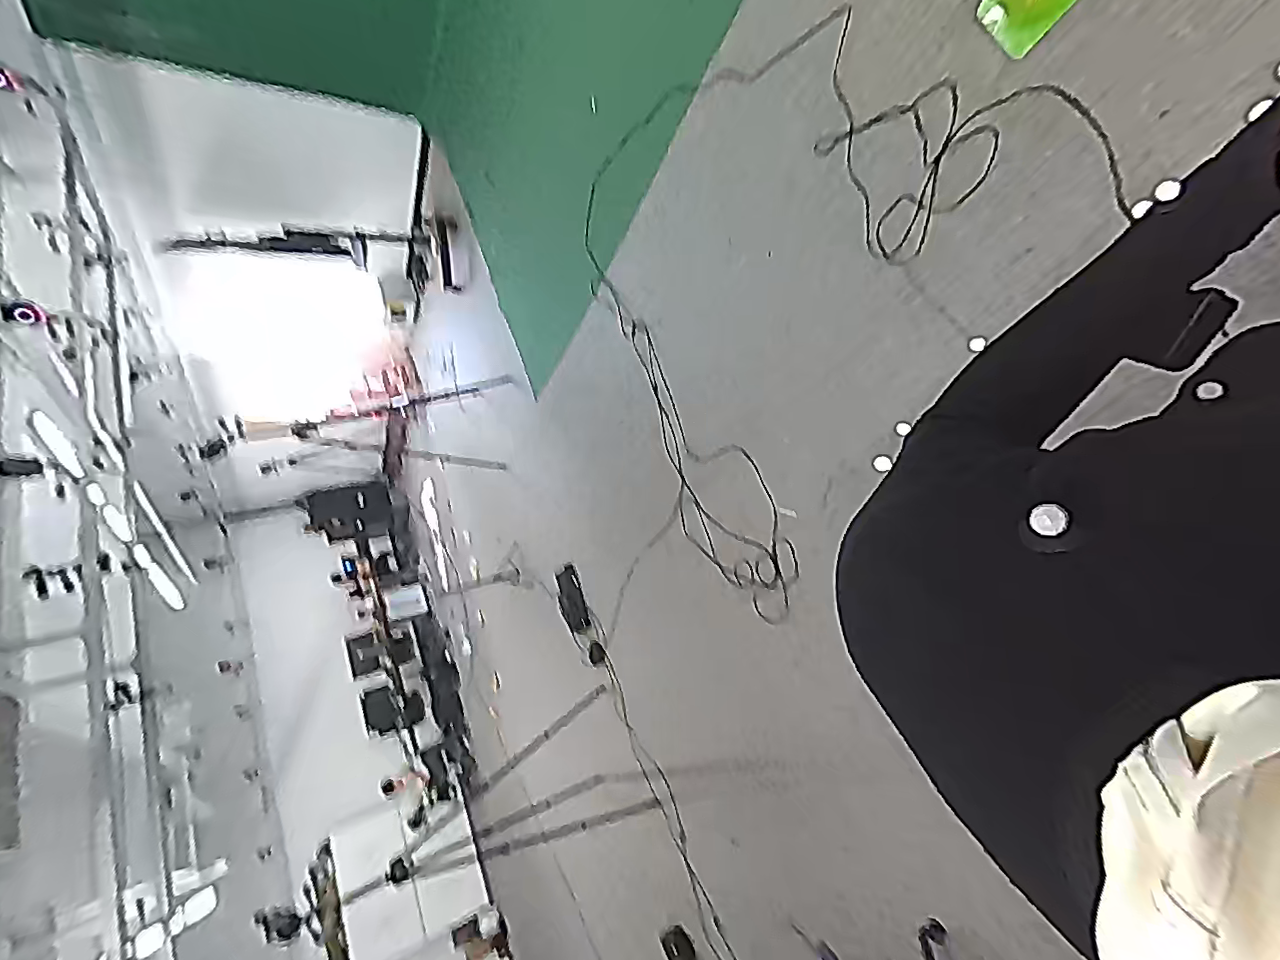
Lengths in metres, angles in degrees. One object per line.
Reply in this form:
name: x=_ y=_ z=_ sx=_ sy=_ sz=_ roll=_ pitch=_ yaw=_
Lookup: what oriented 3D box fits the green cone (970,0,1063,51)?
green cone: x=0.774 y=-1.141 z=1.178 sx=0.202 sy=0.368 sz=0.200 roll=-45 pitch=61 yaw=52
